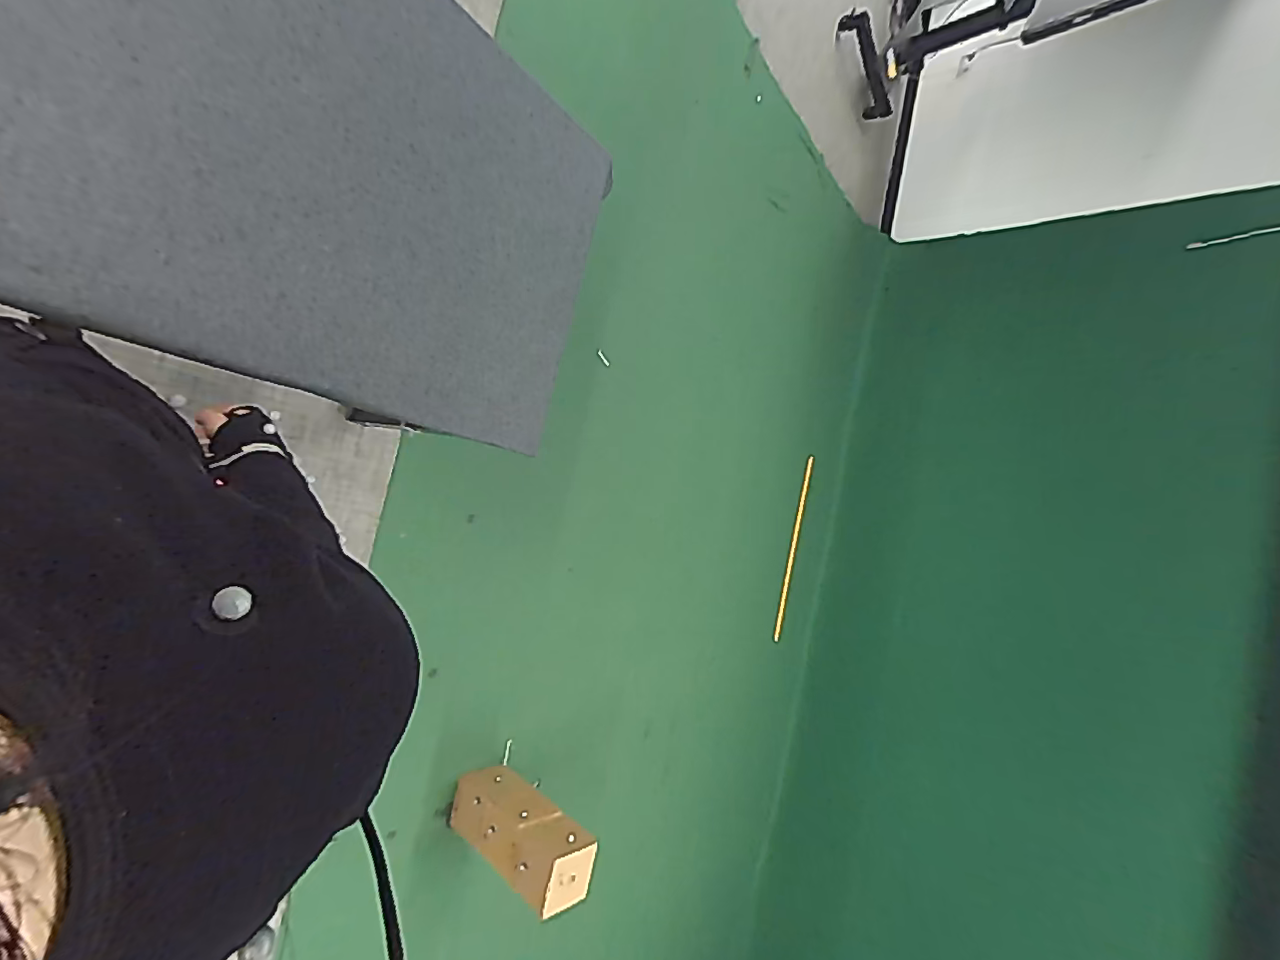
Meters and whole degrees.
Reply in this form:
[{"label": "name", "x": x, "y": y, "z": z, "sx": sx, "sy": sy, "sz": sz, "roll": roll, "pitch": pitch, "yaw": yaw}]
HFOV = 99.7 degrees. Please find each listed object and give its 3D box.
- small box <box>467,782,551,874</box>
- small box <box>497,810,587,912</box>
[{"label": "small box", "x": -0.417, "y": 1.097, "z": 1.723, "sx": 0.179, "sy": 0.176, "sz": 0.168, "roll": 17, "pitch": 85, "yaw": -49}, {"label": "small box", "x": -0.293, "y": 1.127, "z": 1.618, "sx": 0.179, "sy": 0.176, "sz": 0.168, "roll": 19, "pitch": 83, "yaw": -49}]
